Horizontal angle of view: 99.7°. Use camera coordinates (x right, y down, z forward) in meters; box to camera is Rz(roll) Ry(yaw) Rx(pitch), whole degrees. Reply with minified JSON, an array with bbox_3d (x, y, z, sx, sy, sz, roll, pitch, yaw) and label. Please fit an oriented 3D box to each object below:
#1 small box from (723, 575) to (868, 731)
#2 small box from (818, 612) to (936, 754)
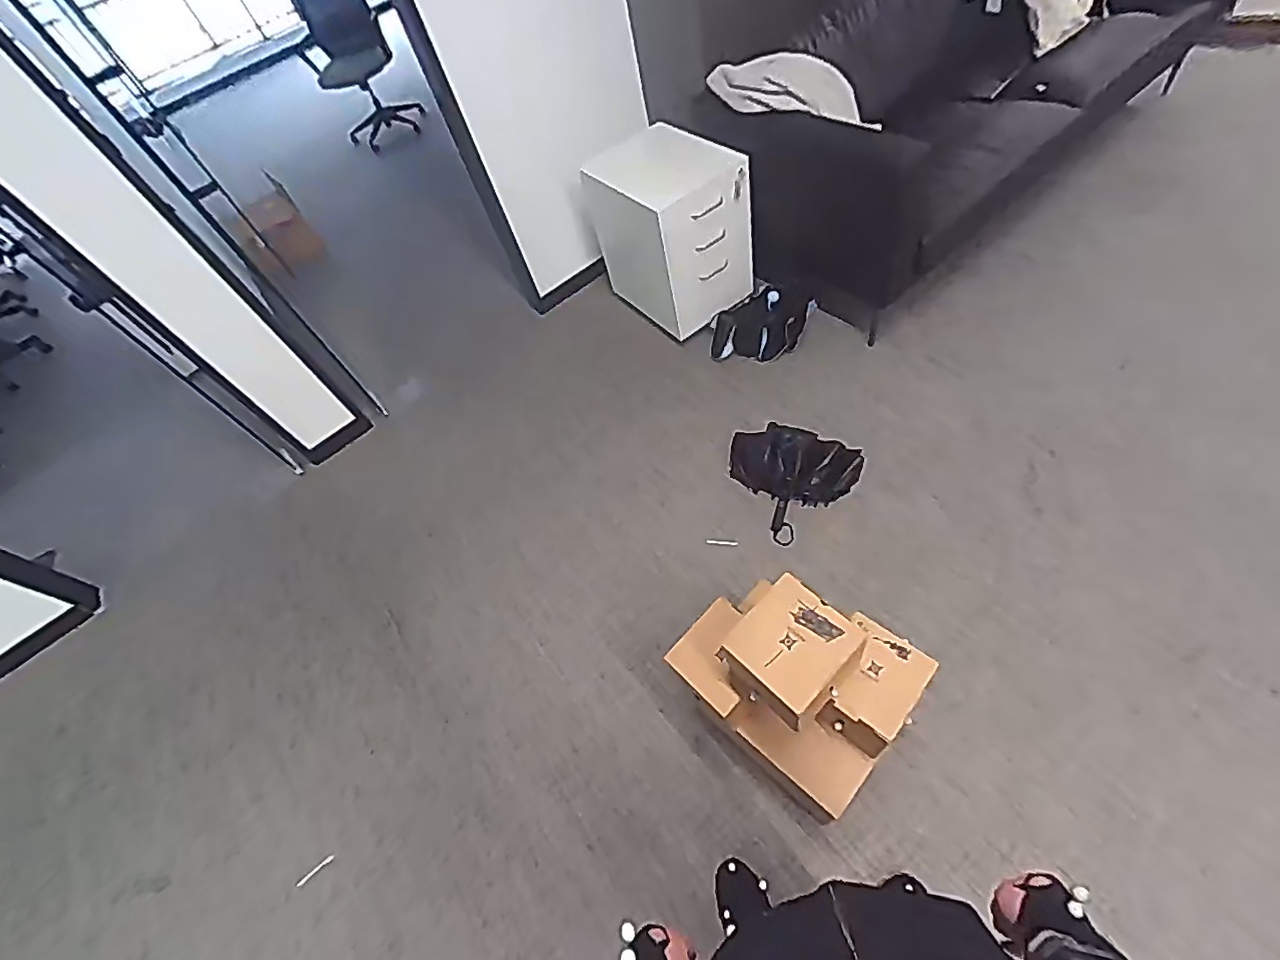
[{"bbox_3d":[0.268,0.306,0.948,0.179,0.176,0.168,-43,55,-13],"label":"small box"},{"bbox_3d":[0.436,0.397,1.045,0.168,0.176,0.179,33,69,31],"label":"small box"}]
